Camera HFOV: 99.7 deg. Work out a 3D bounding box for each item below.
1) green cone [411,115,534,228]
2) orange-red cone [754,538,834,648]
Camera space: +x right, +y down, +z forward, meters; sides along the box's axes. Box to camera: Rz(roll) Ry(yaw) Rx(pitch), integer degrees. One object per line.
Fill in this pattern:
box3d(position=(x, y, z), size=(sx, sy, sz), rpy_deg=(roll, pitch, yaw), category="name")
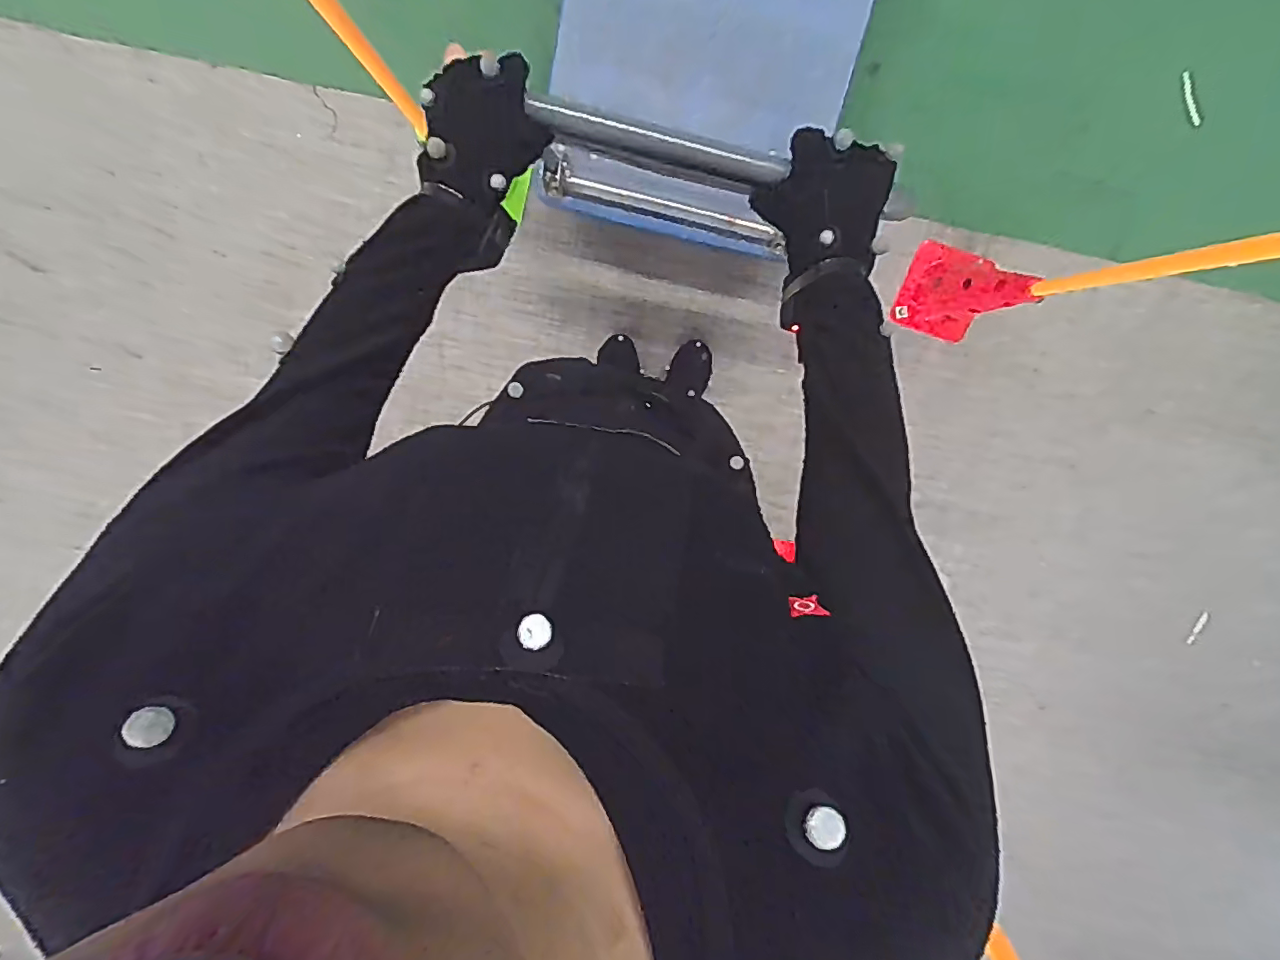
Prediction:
box3d(position=(-0.371, -0.675, 1.119), size=(0.202, 0.368, 0.200), rpy_deg=(17, 107, -3), category="green cone")
box3d(position=(0.438, 0.323, 1.418), size=(0.199, 0.360, 0.198), rpy_deg=(12, 107, 0), category="orange-red cone")
